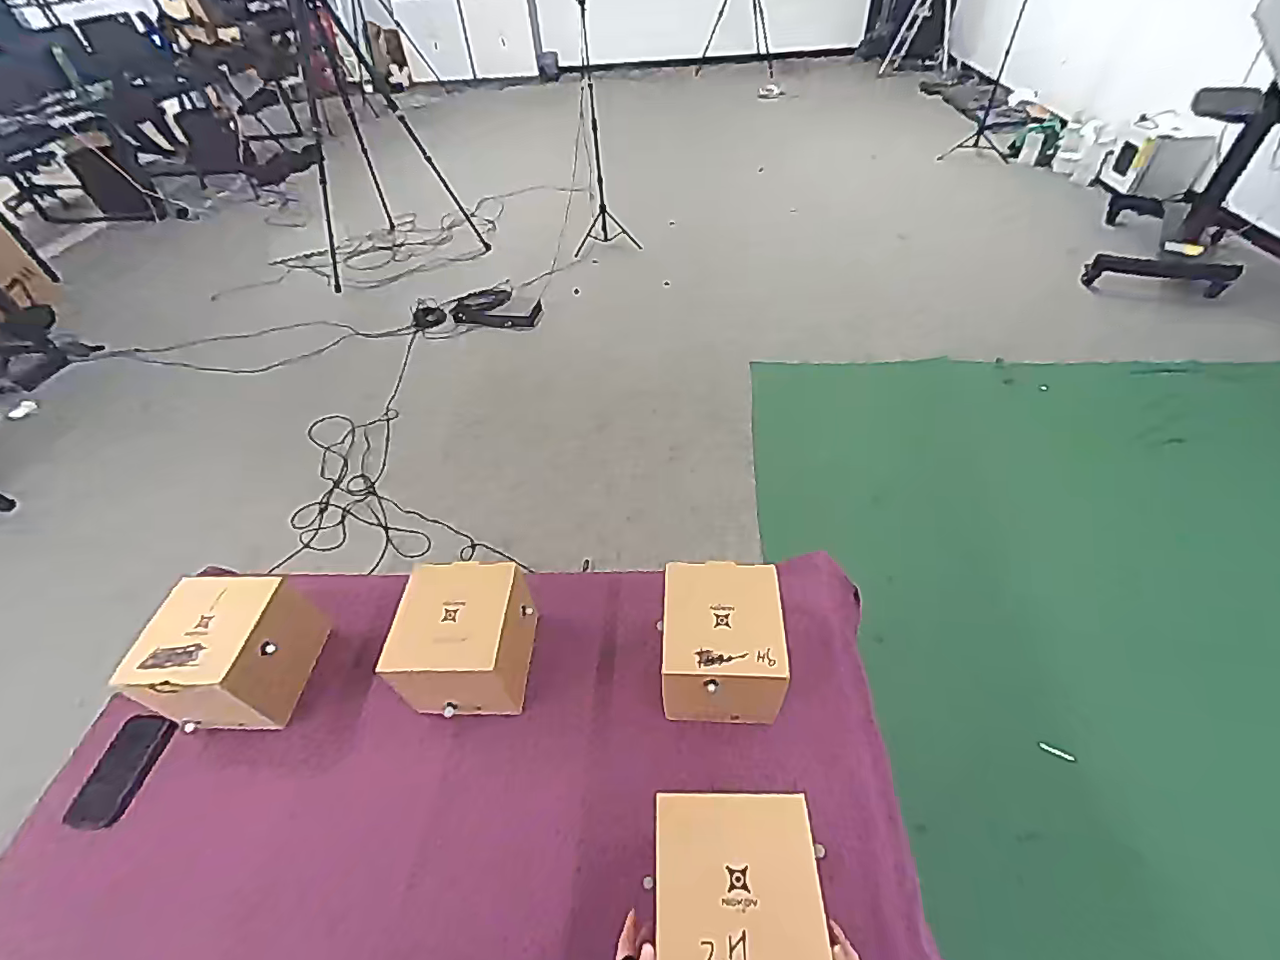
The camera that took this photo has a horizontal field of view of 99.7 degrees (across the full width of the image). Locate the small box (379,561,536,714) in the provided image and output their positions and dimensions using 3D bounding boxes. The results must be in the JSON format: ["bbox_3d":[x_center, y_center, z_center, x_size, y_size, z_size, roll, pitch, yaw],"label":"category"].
[{"bbox_3d":[-0.267,0.245,0.843,0.168,0.176,0.179,-2,48,5],"label":"small box"}]

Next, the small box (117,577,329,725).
[{"bbox_3d":[-0.632,0.272,0.852,0.168,0.176,0.179,-1,46,4],"label":"small box"}]

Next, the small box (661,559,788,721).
[{"bbox_3d":[0.120,0.238,0.809,0.168,0.176,0.179,-1,47,6],"label":"small box"}]

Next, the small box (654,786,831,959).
[{"bbox_3d":[0.103,0.461,0.598,0.168,0.176,0.179,-3,46,5],"label":"small box"}]
